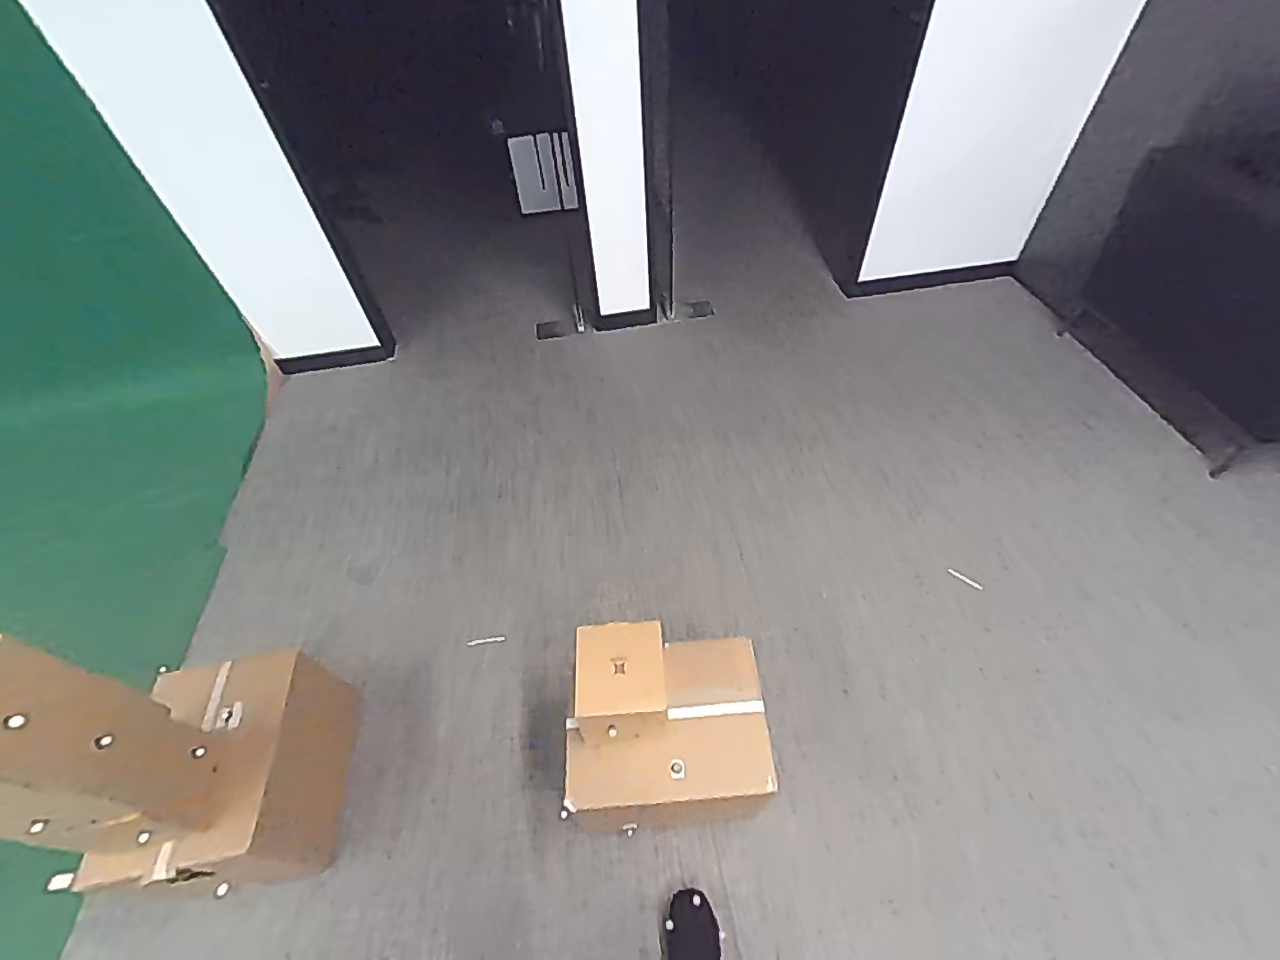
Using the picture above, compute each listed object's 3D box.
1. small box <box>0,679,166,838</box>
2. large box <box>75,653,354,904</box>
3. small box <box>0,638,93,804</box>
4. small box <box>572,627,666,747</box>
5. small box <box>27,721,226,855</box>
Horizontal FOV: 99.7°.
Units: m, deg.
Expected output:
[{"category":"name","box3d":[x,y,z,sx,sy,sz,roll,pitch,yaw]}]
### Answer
[{"category":"small box","box3d":[-0.922,0.452,0.868,0.168,0.176,0.179,-13,49,-8]},{"category":"large box","box3d":[-0.895,0.667,1.219,0.320,0.320,0.408,-9,49,-4]},{"category":"small box","box3d":[-0.929,0.345,0.743,0.168,0.176,0.179,-12,50,-6]},{"category":"small box","box3d":[-0.038,0.410,1.061,0.168,0.176,0.179,-4,47,0]},{"category":"small box","box3d":[-0.913,0.564,0.988,0.179,0.176,0.168,-11,49,-4]}]
